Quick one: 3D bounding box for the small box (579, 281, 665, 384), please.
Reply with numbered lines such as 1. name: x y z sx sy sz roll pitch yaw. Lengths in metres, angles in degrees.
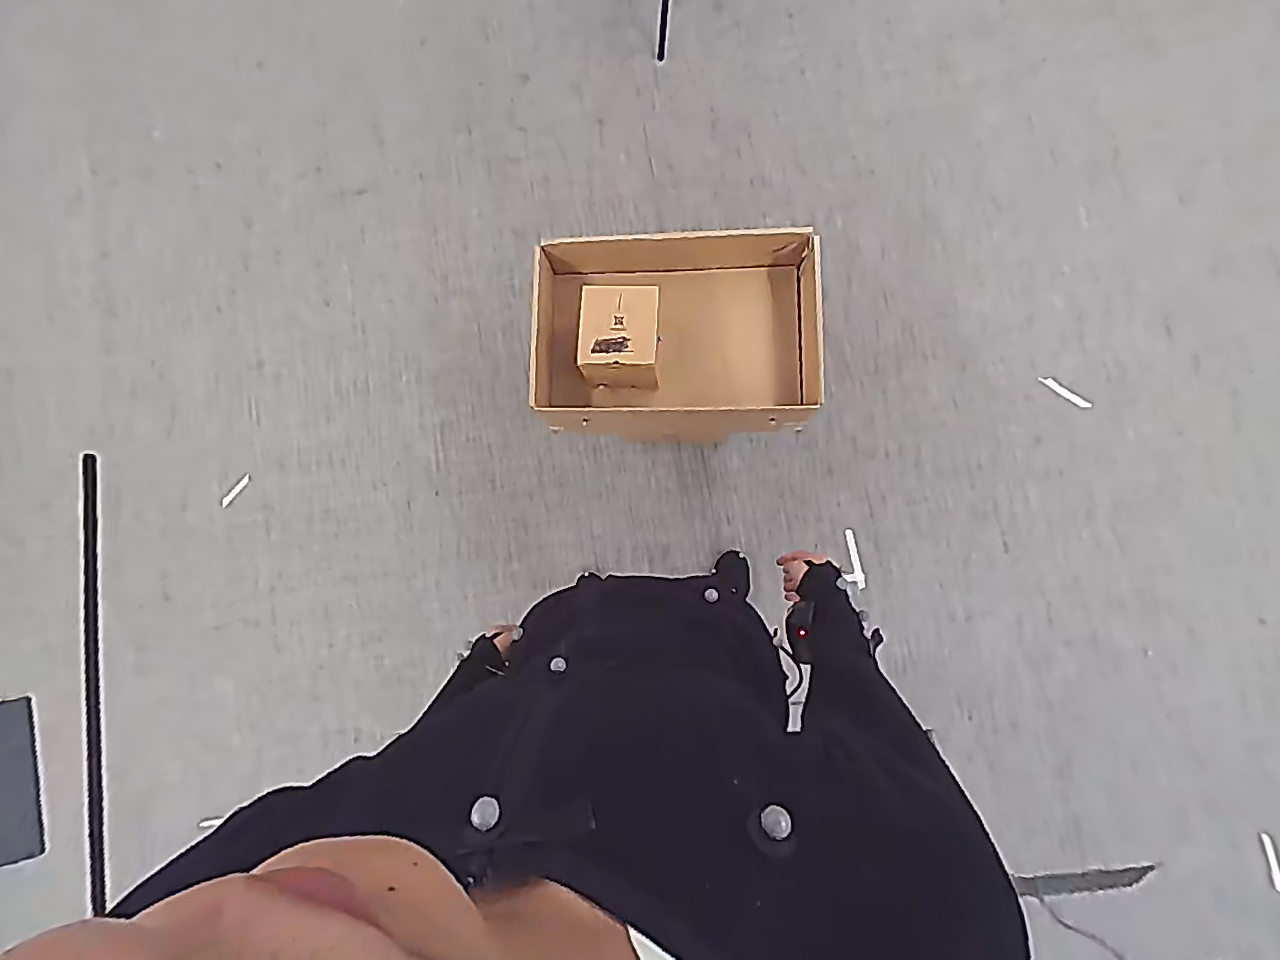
1. small box: -0.033 -0.319 1.201 0.168 0.176 0.179 3 82 5
